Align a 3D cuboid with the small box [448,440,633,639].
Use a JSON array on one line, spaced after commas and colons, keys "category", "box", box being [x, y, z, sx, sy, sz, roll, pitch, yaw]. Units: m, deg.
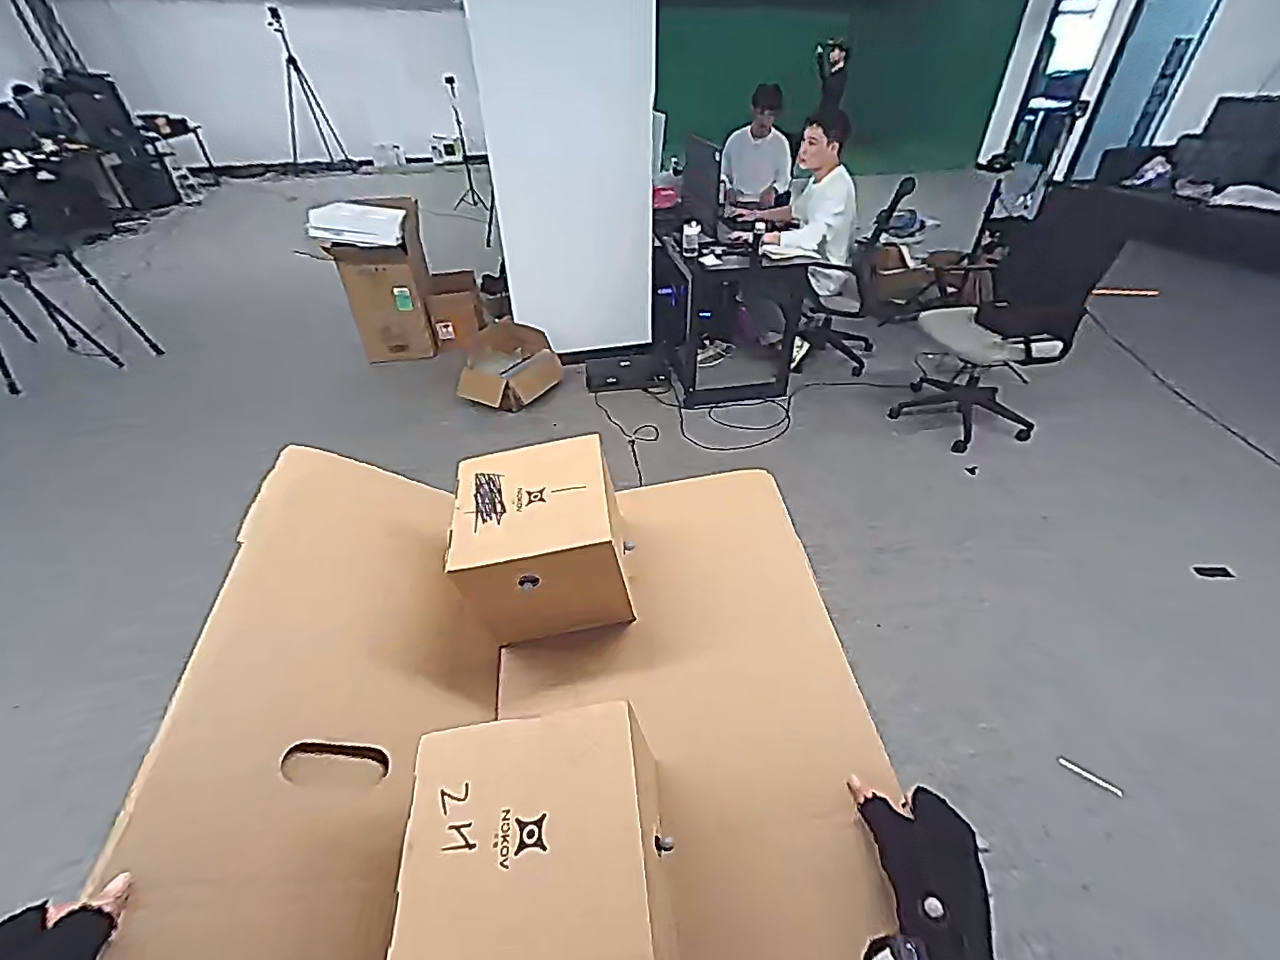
[{"category": "small box", "box": [-0.113, 0.079, 0.673, 0.179, 0.176, 0.168, -11, 47, 0]}]
